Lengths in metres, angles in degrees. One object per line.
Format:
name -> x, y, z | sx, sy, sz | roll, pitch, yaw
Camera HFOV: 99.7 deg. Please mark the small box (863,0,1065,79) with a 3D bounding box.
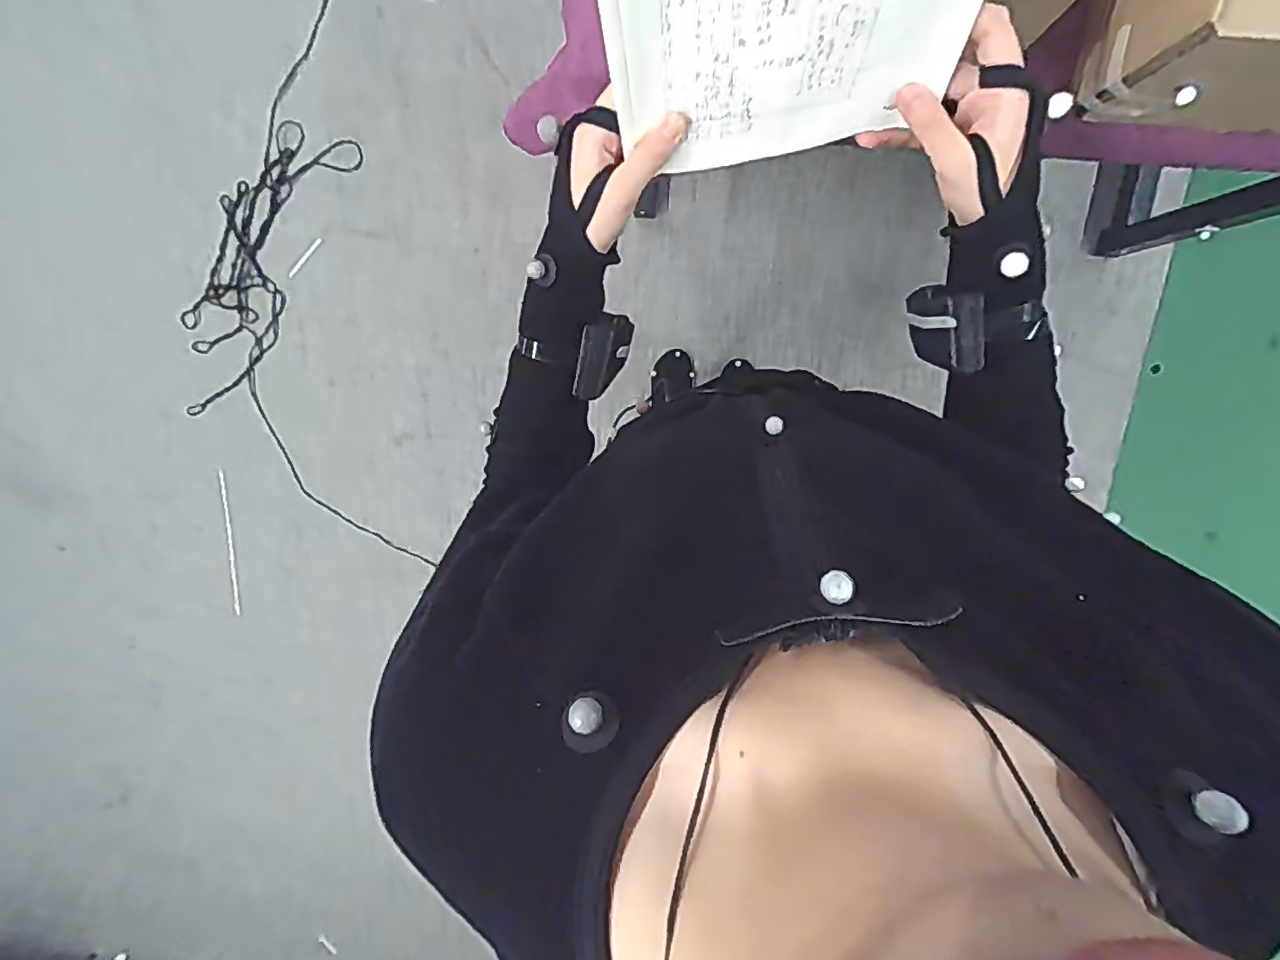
small box -> 0.346, -0.554, 0.557 | 0.168, 0.176, 0.179 | 7, 100, 3
